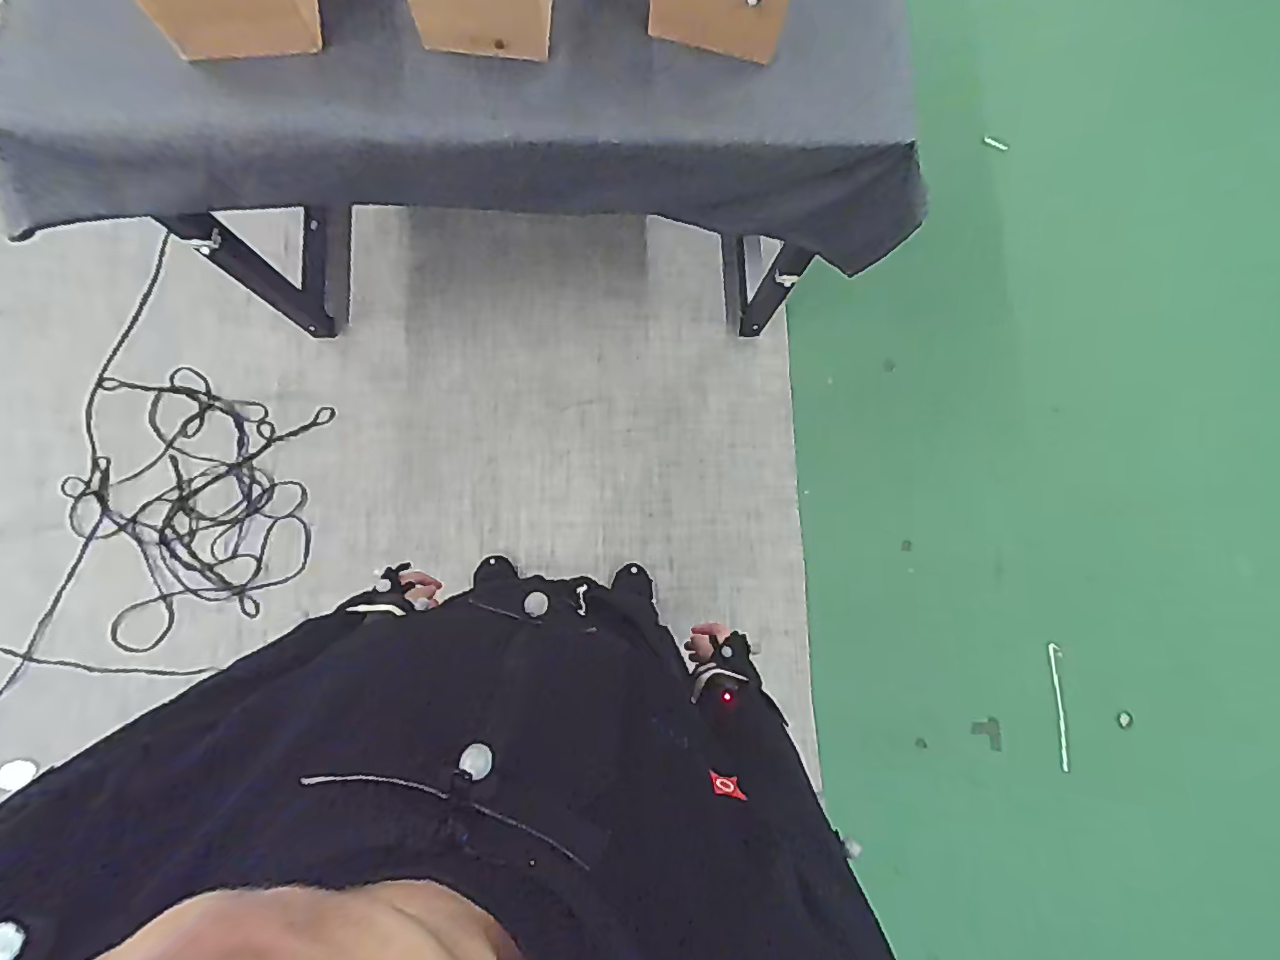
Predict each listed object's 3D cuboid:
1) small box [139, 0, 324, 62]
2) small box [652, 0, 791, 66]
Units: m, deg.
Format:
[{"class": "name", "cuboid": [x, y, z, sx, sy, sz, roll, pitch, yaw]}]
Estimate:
[{"class": "small box", "cuboid": [-0.509, -0.639, 0.641, 0.179, 0.176, 0.168, -8, 82, -6]}, {"class": "small box", "cuboid": [0.120, -0.686, 0.697, 0.179, 0.176, 0.168, 12, 80, -1]}]
